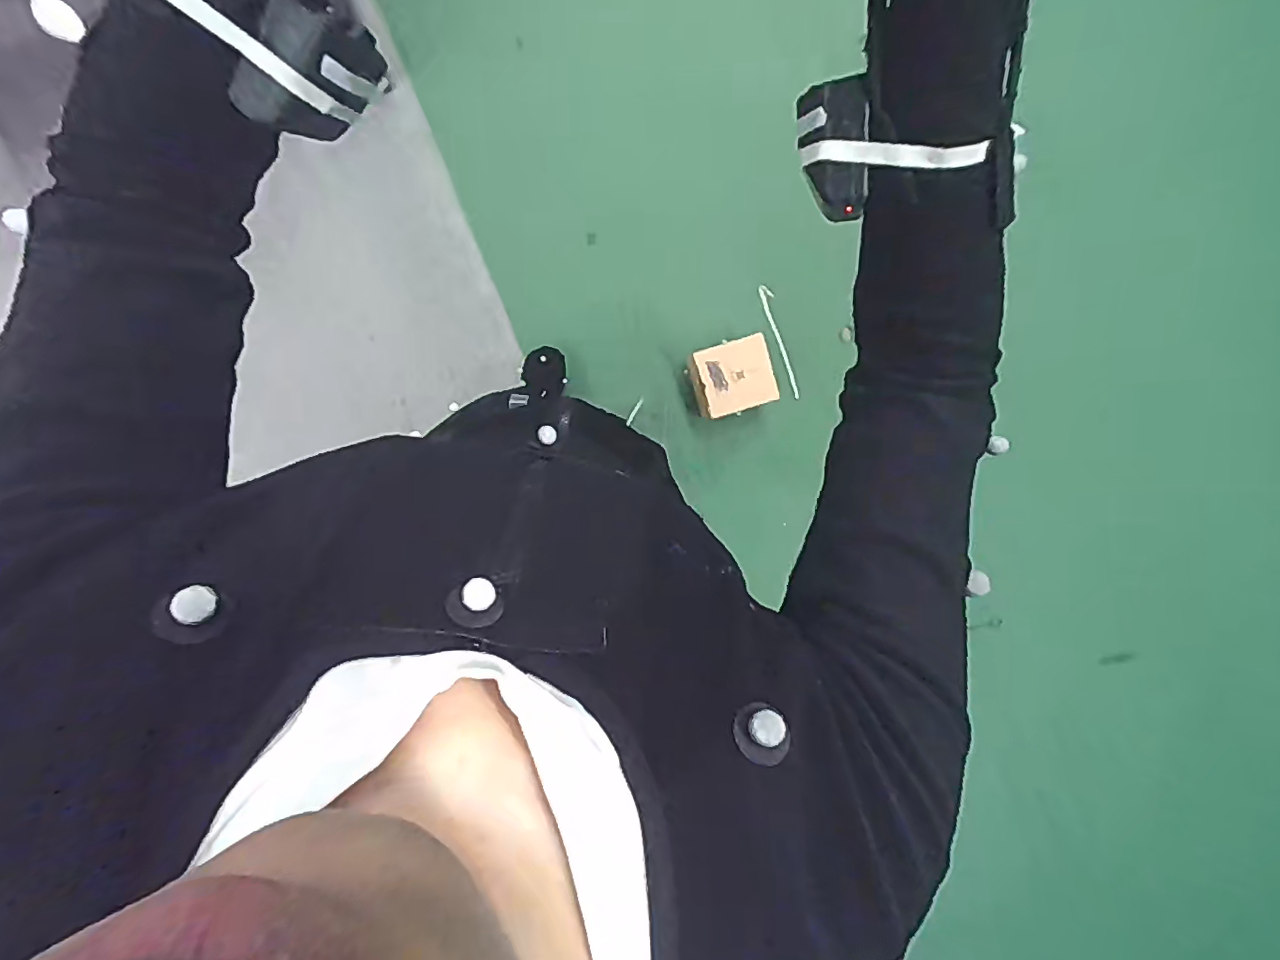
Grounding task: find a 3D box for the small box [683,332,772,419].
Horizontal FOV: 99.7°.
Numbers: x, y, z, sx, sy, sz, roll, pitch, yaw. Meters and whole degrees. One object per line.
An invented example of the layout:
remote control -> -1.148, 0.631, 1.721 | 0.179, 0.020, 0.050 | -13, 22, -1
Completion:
small box -> 0.213, -0.259, 1.377 | 0.179, 0.176, 0.168 | -20, 98, 1
